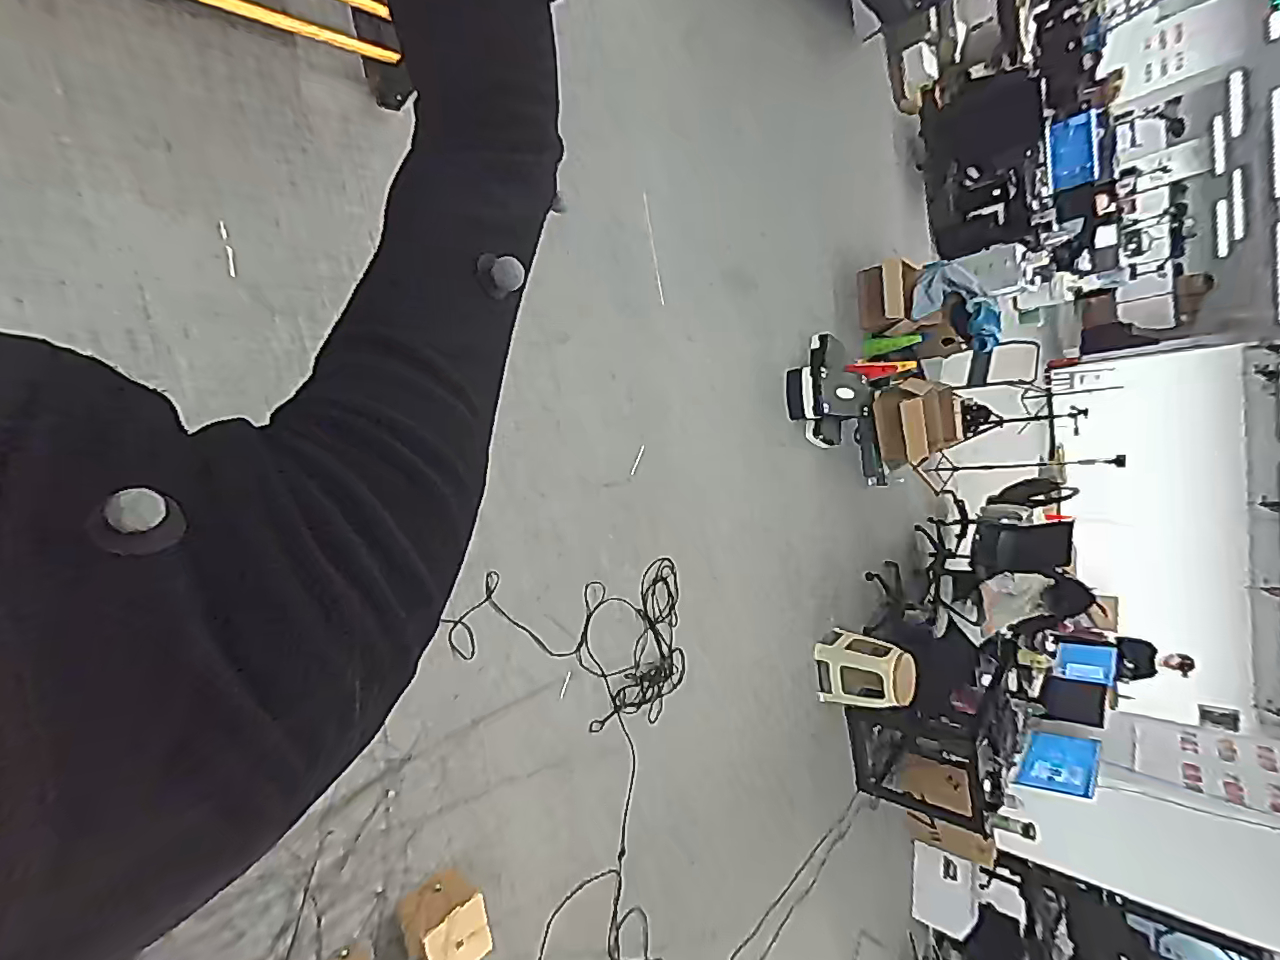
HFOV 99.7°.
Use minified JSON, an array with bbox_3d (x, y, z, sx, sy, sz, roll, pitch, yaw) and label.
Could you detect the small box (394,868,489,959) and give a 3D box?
[{"bbox_3d":[-0.529,1.193,1.439,0.168,0.176,0.179,-16,99,-46],"label":"small box"}]
